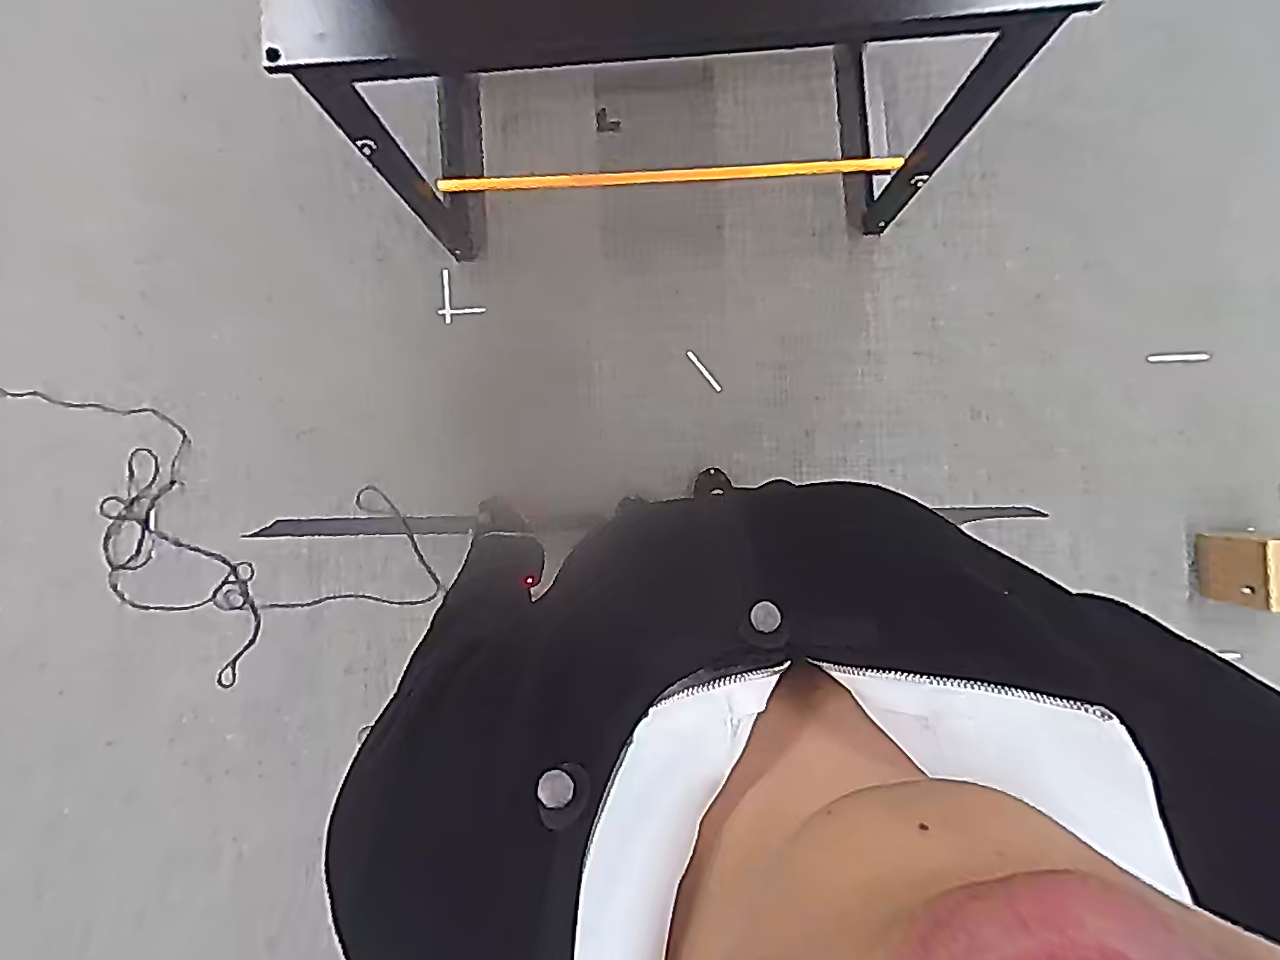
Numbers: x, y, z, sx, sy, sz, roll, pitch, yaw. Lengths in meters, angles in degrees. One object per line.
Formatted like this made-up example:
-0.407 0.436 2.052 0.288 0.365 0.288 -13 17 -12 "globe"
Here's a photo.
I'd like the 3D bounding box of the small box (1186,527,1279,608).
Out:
1.558 0.218 1.379 0.168 0.176 0.179 -3 90 2 "small box"
